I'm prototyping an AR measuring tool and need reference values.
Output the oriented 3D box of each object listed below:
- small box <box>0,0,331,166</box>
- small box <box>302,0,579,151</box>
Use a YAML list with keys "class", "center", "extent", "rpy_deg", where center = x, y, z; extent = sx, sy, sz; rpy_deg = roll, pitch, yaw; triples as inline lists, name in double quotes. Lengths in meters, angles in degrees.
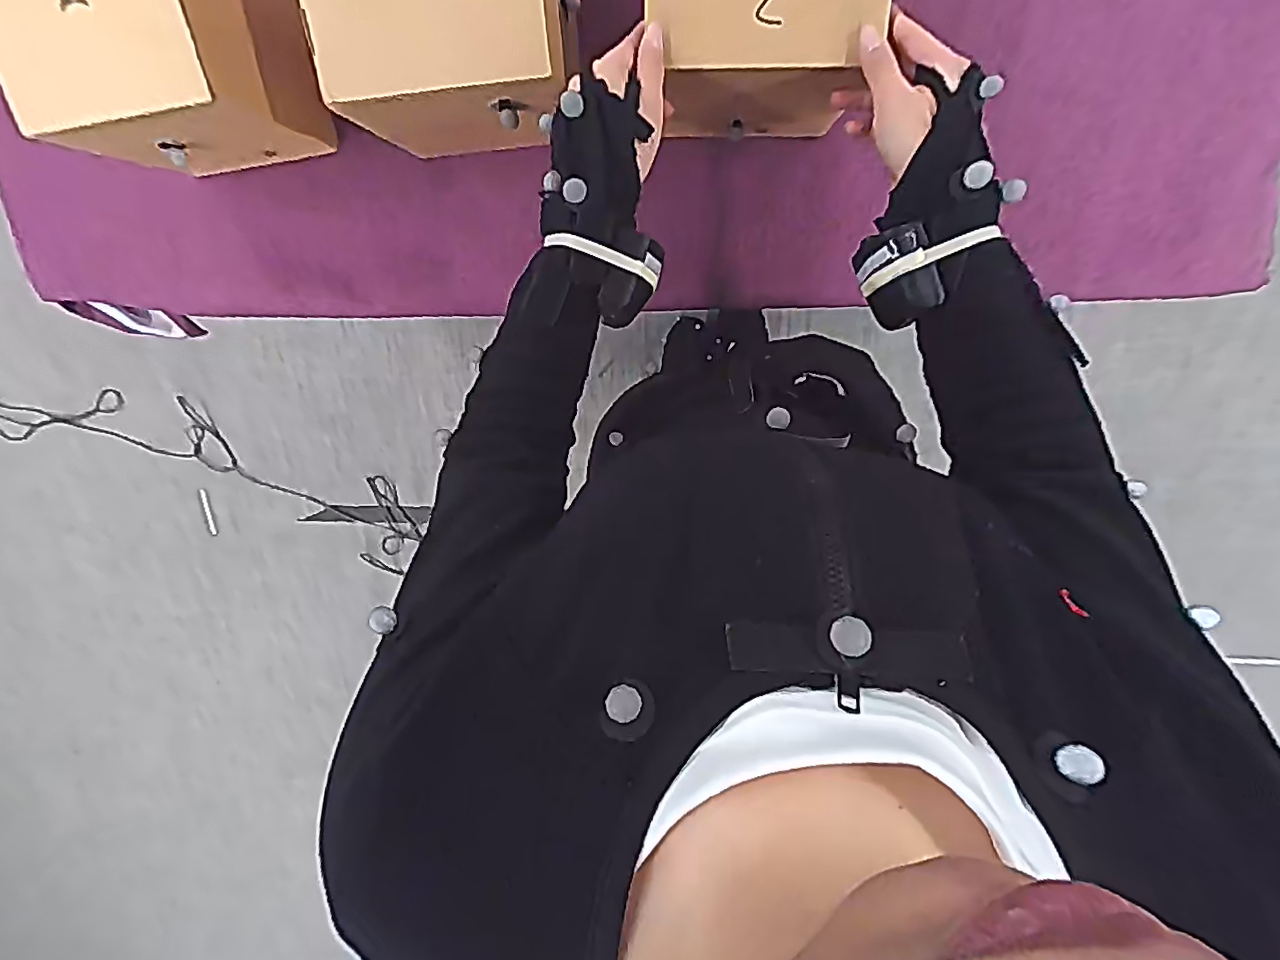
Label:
- class: "small box"
  center: [-0.405, -0.387, 0.461]
  extent: [0.168, 0.176, 0.179]
  rpy_deg: [-6, 108, 6]
- class: "small box"
  center: [-0.149, -0.388, 0.441]
  extent: [0.179, 0.176, 0.168]
  rpy_deg: [-4, 108, 5]
